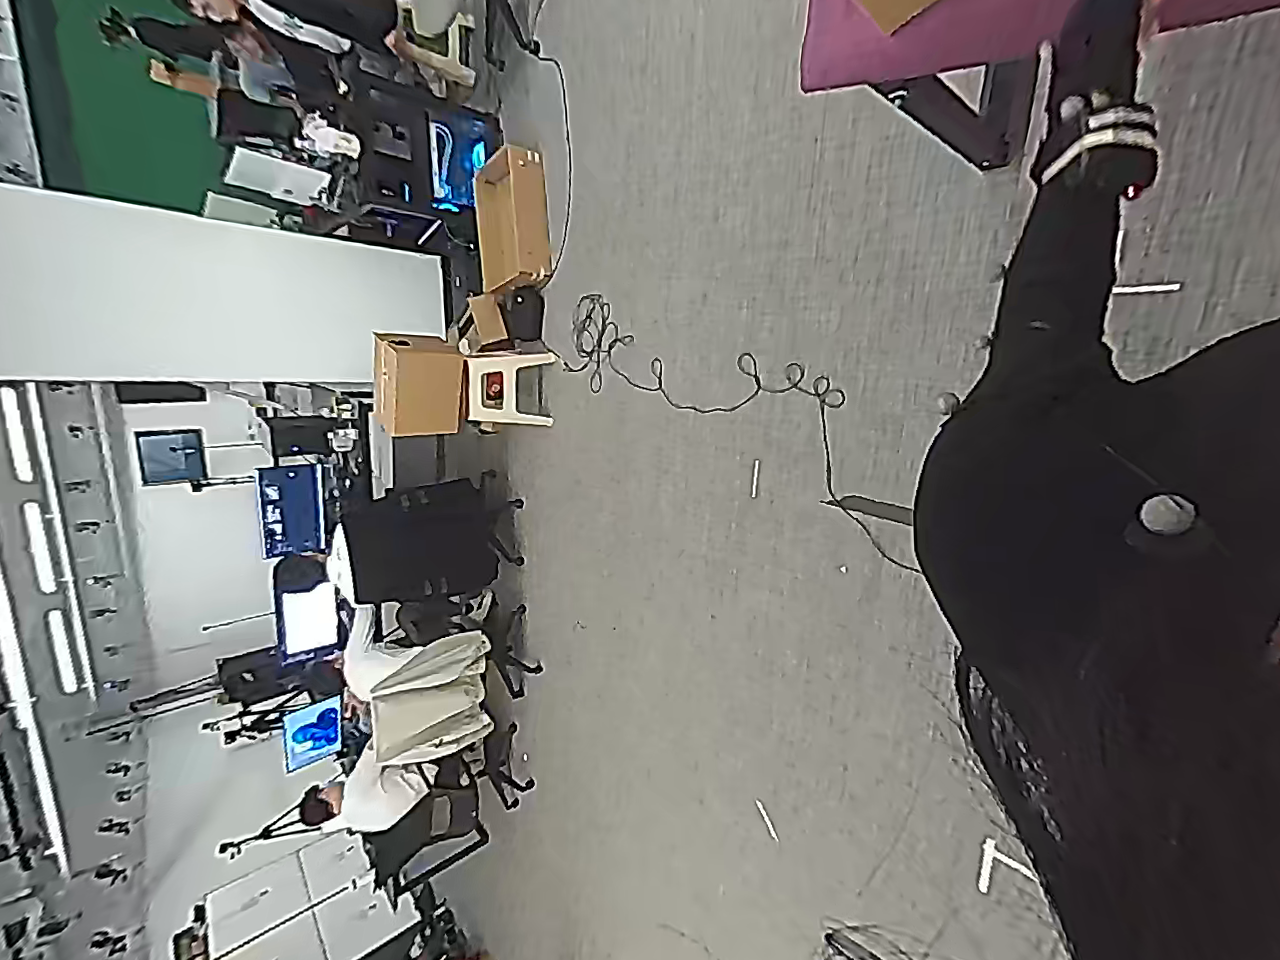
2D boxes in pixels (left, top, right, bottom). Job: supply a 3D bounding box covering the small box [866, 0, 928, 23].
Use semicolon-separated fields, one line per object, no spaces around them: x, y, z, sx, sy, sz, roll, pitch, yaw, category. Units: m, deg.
0.333;-0.705;0.632;0.179;0.176;0.168;-10;88;49;small box
